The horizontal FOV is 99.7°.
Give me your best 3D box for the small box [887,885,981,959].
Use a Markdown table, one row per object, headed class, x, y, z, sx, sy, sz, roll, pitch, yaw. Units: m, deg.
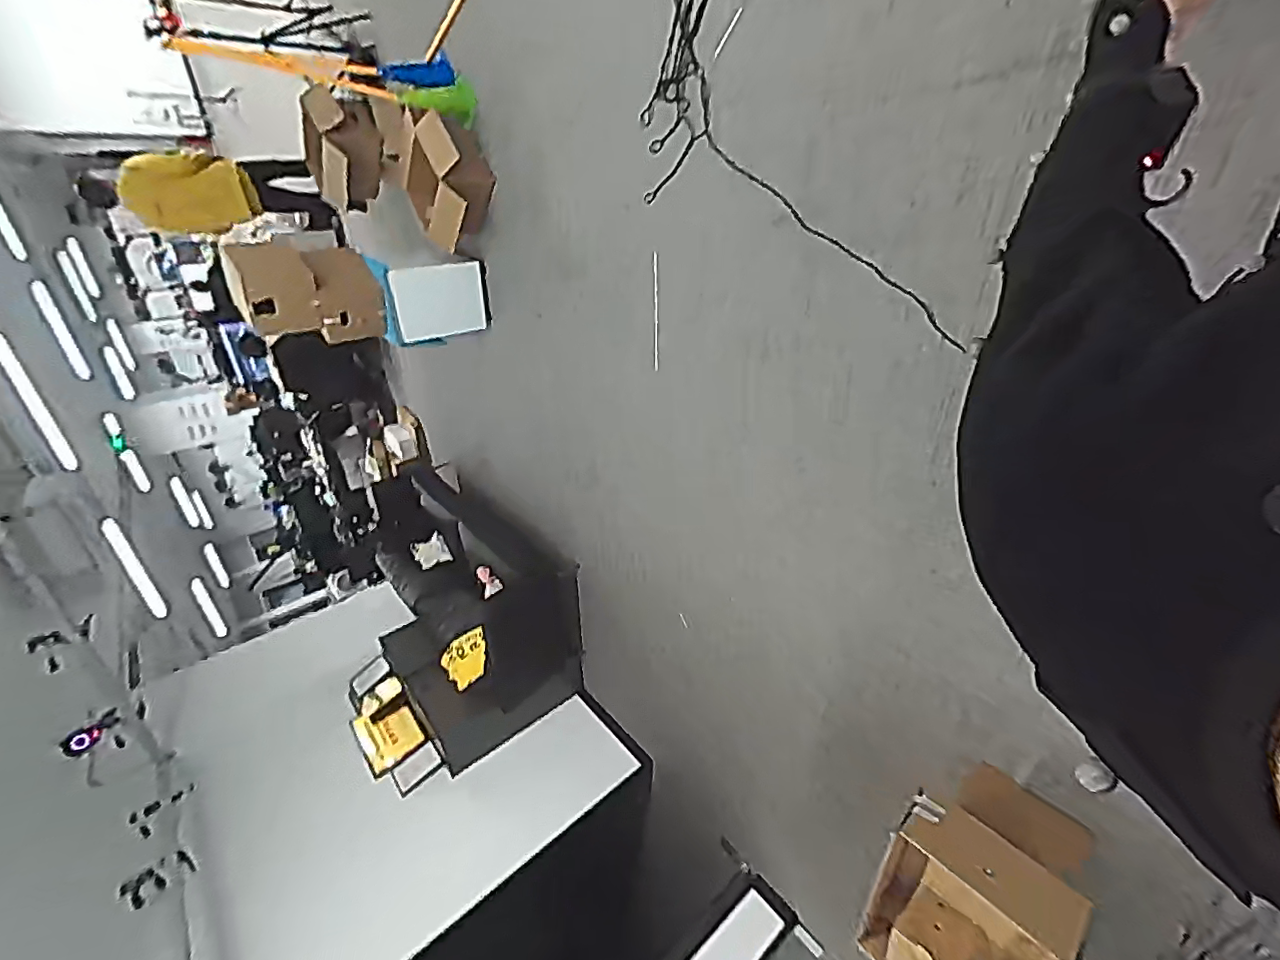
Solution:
| class | x | y | z | sx | sy | sz | roll | pitch | yaw |
| --- | --- | --- | --- | --- | --- | --- | --- | --- | --- |
| small box | 0.810 | 1.278 | 1.487 | 0.168 | 0.176 | 0.179 | 24 | 125 | 45 |
